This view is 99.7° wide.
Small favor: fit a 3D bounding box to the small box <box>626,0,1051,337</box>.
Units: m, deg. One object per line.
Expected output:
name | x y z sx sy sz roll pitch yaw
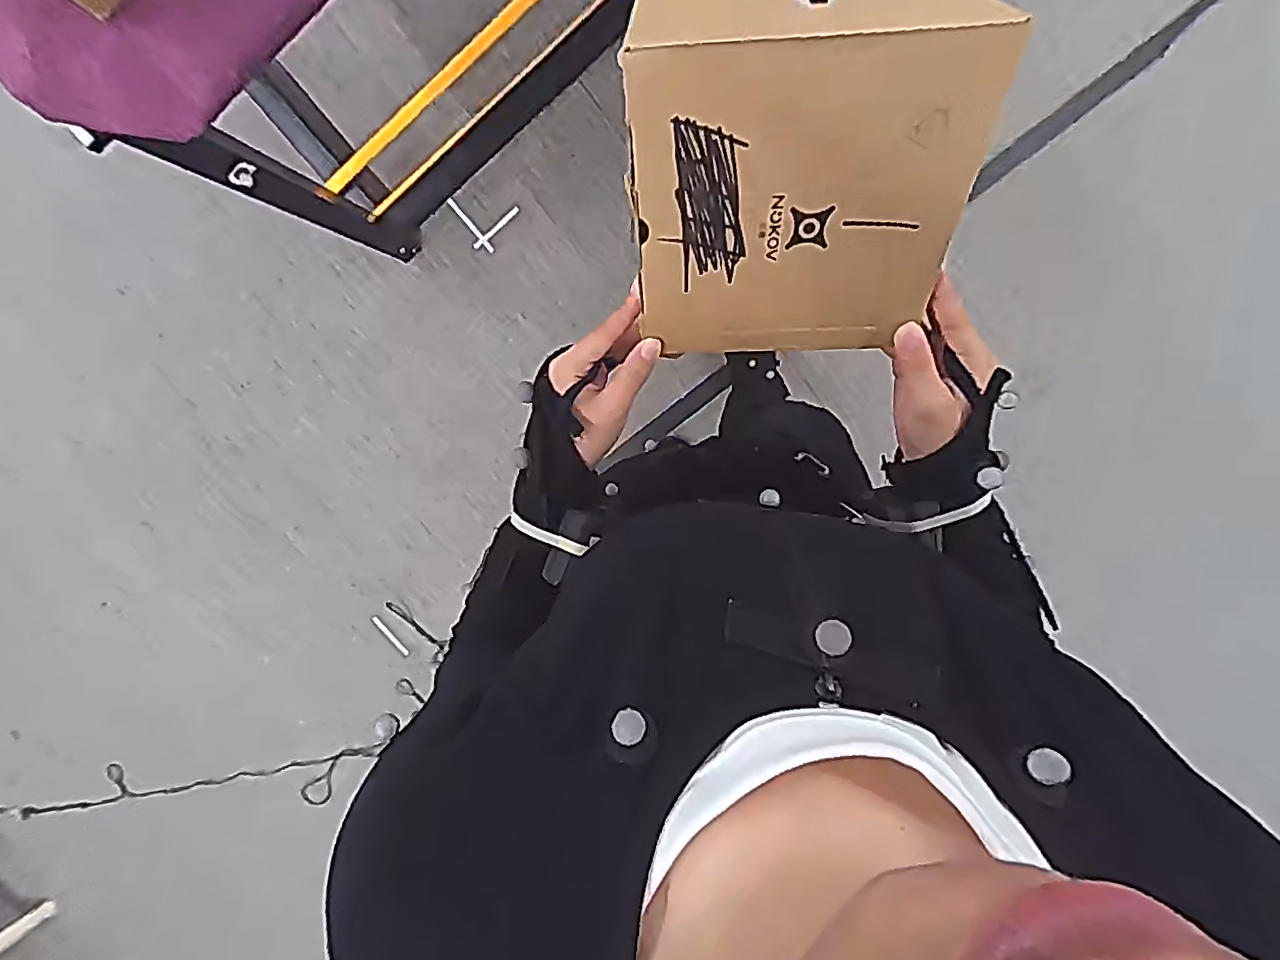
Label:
small box | 0.089 -0.207 0.334 0.179 0.176 0.168 -1 140 4
